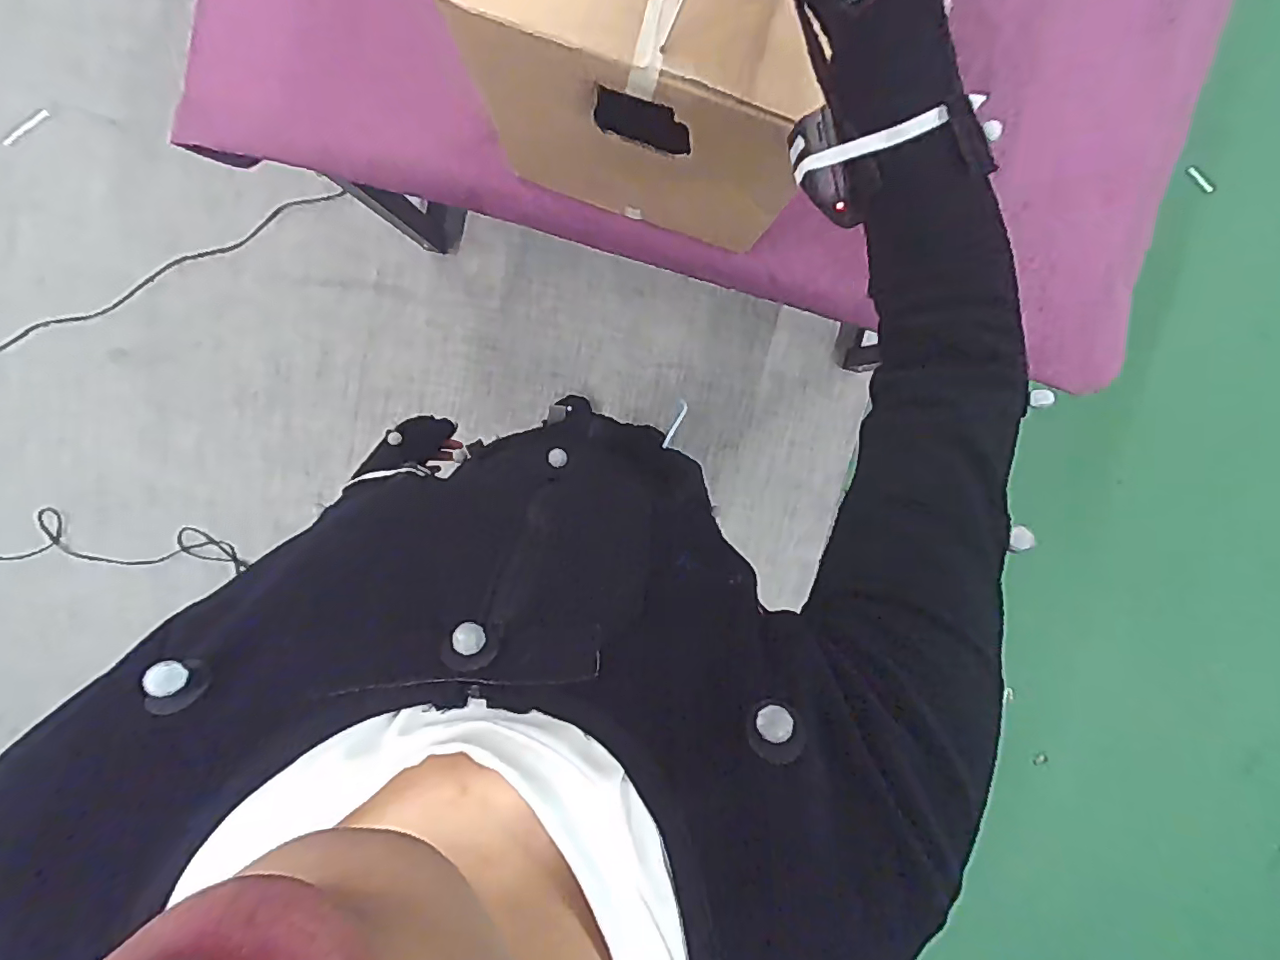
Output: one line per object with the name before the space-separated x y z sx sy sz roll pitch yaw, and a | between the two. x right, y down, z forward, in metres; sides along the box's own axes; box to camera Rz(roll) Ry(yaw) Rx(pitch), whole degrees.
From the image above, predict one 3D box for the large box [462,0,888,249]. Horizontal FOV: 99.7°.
large box | 0.060 -0.512 0.535 0.320 0.320 0.408 17 98 -4
